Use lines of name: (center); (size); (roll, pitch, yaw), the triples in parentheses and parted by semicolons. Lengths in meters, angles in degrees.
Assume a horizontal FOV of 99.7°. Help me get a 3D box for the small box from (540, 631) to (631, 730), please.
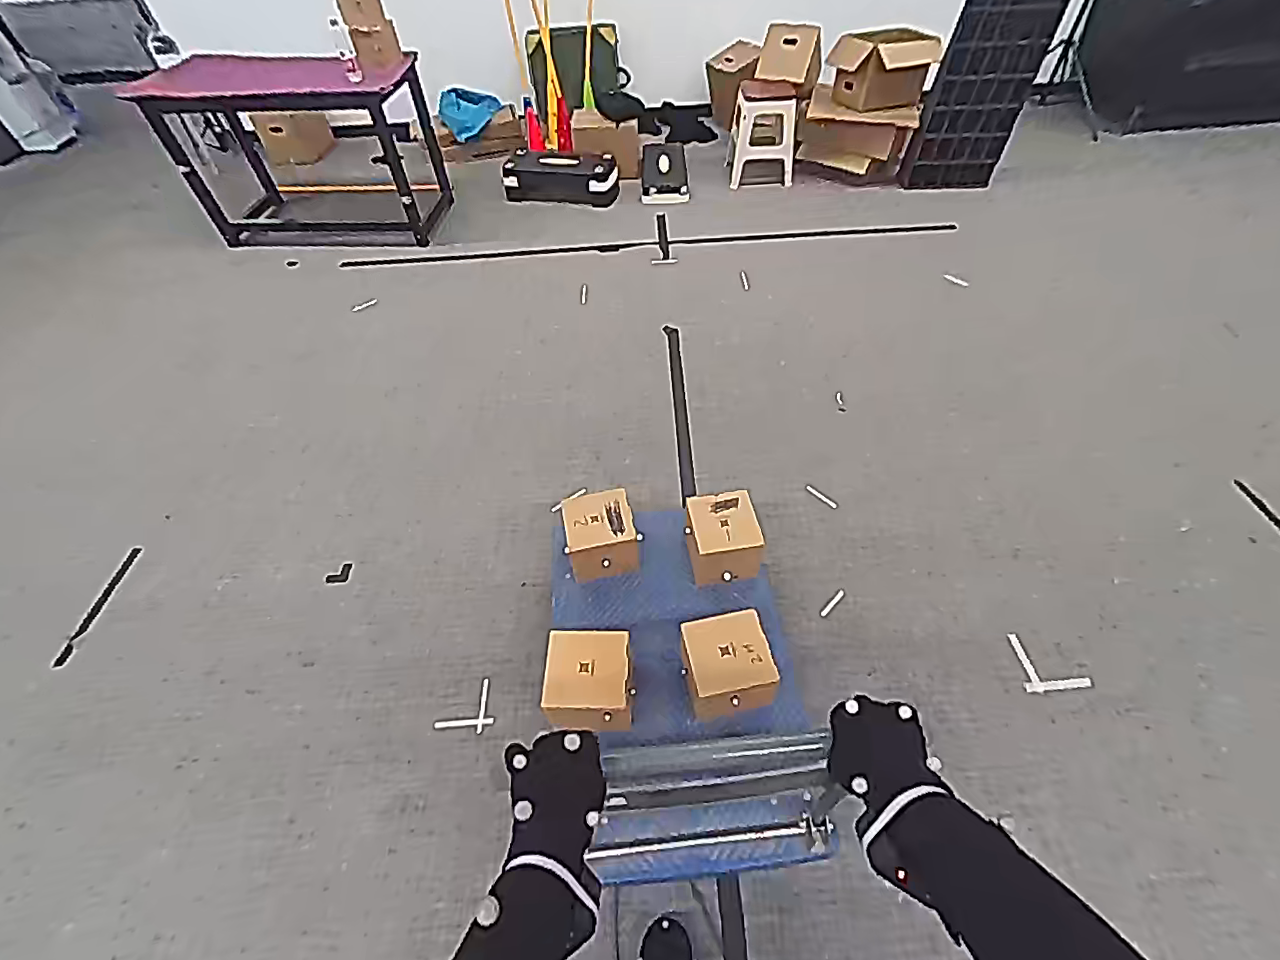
small box: (-0.112, 0.448, 1.201); (0.179, 0.176, 0.168); (0, 50, 1)

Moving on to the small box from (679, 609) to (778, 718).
small box: (0.191, 0.414, 1.209); (0.179, 0.176, 0.168); (-11, 51, -5)

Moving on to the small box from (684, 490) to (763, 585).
small box: (0.212, 0.152, 1.424); (0.168, 0.176, 0.179); (-8, 52, -3)
